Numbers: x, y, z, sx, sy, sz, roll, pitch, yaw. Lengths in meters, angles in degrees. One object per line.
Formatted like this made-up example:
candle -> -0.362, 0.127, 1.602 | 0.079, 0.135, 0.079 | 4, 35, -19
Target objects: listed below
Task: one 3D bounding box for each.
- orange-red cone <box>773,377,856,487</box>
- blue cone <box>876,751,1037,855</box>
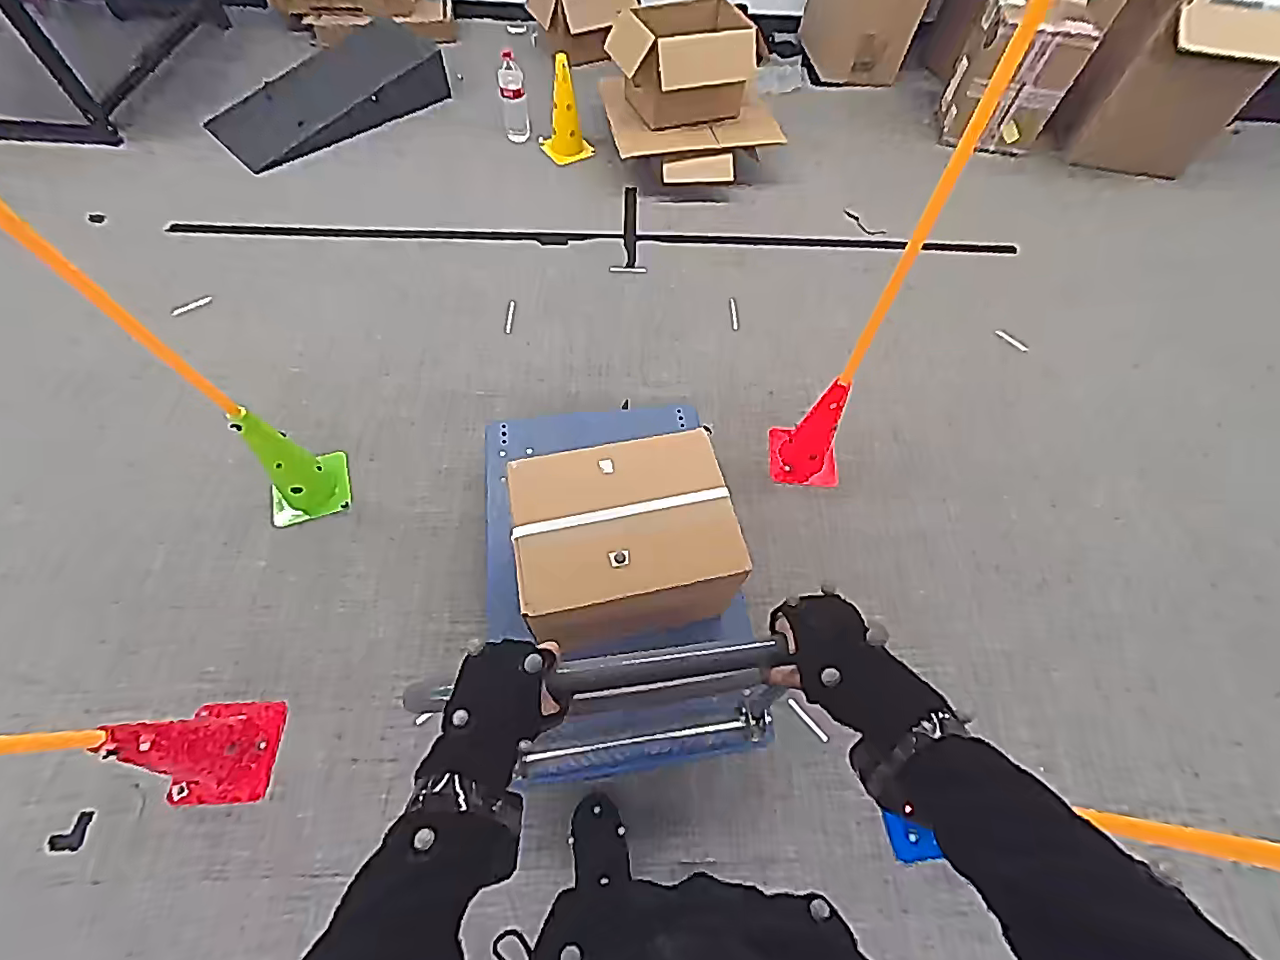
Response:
orange-red cone -> 0.515, -0.158, 1.499 | 0.199, 0.360, 0.198 | 7, 61, 0
blue cone -> 0.648, 0.634, 1.068 | 0.193, 0.380, 0.192 | -2, 59, -5
